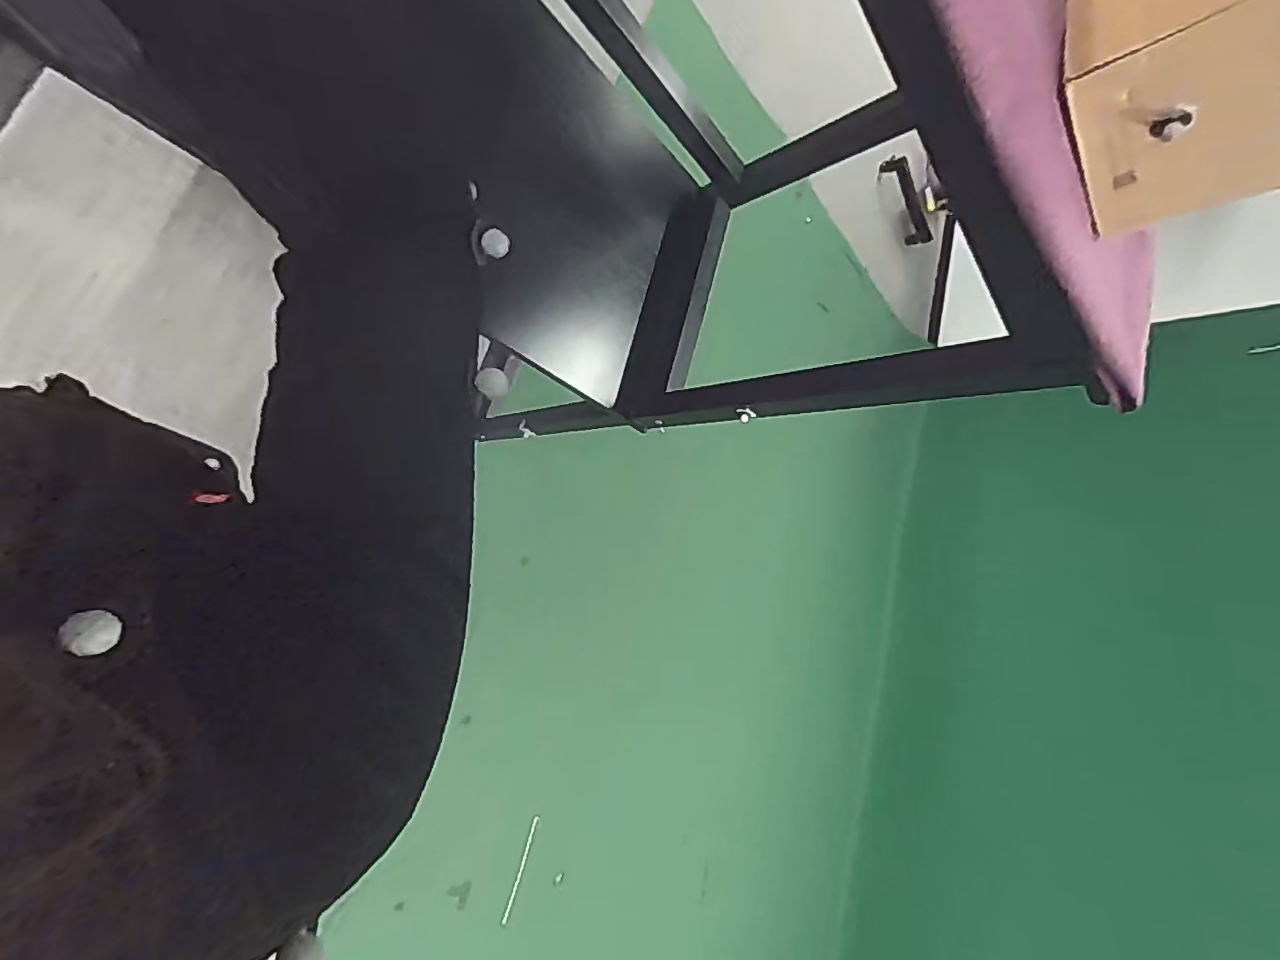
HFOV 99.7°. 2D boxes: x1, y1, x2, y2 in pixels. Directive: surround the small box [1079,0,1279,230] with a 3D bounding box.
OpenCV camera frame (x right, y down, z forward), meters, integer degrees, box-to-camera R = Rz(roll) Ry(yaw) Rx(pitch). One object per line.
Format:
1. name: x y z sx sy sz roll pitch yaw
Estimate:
1. small box: 0.442 -0.330 0.399 0.168 0.176 0.179 31 68 -38
